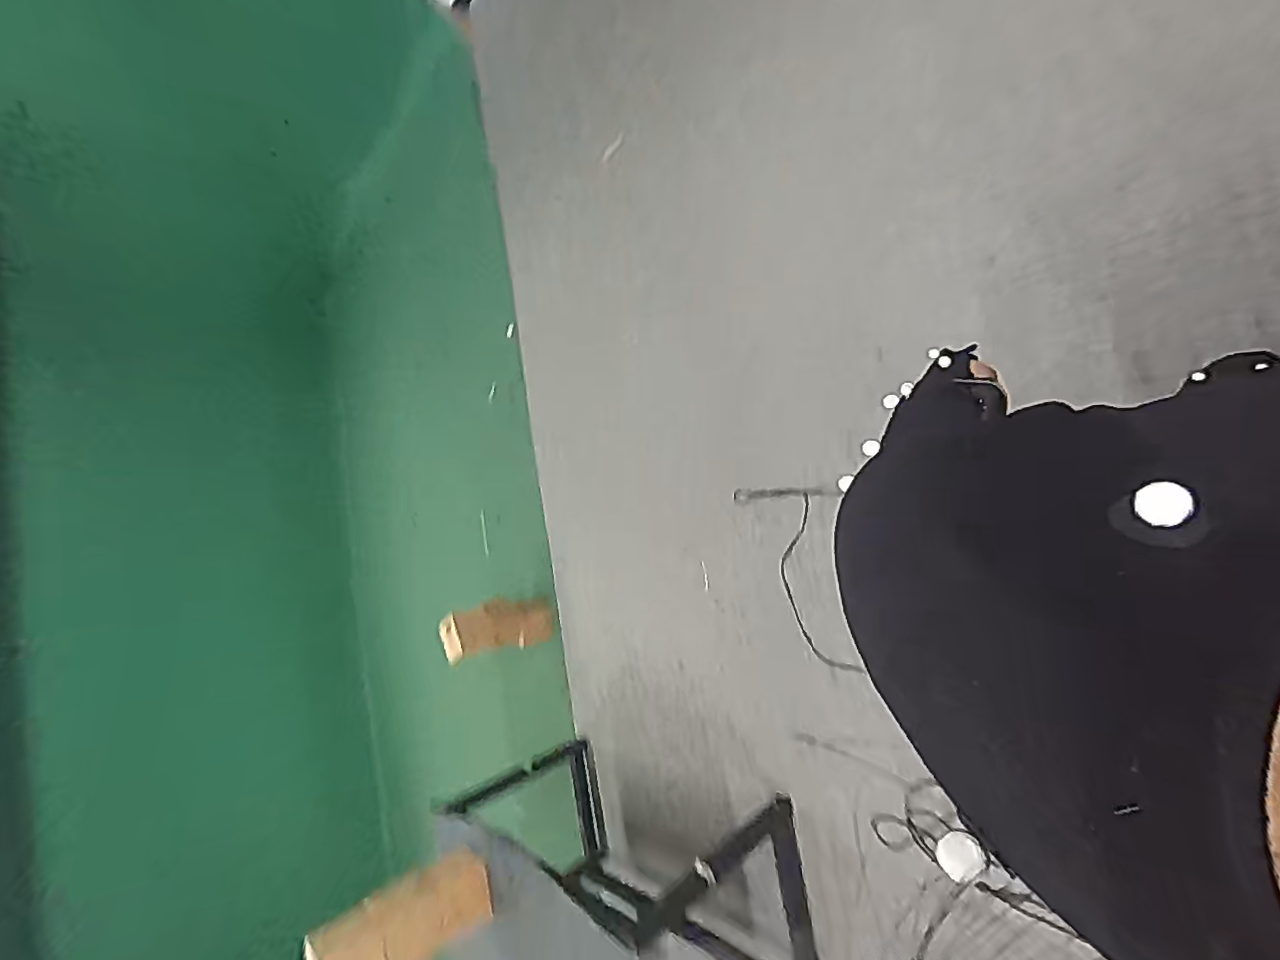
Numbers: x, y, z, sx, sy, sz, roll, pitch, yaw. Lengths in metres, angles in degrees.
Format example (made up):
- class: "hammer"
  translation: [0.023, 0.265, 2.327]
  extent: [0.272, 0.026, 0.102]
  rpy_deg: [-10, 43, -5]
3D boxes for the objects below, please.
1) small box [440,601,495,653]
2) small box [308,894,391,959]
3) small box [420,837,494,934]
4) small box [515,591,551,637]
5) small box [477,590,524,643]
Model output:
- class: "small box"
  translation: [-0.802, 0.675, 2.517]
  extent: [0.168, 0.176, 0.179]
  rpy_deg: [-42, 65, 39]
- class: "small box"
  translation: [-0.845, 1.373, 1.581]
  extent: [0.168, 0.176, 0.179]
  rpy_deg: [-18, 83, 45]
- class: "small box"
  translation: [-0.612, 1.344, 1.811]
  extent: [0.168, 0.176, 0.179]
  rpy_deg: [-13, 86, 46]
- class: "small box"
  translation: [-0.569, 0.675, 2.747]
  extent: [0.179, 0.176, 0.168]
  rpy_deg: [10, 101, 45]
- class: "small box"
  translation: [-0.686, 0.655, 2.632]
  extent: [0.179, 0.176, 0.168]
  rpy_deg: [37, 118, 38]
